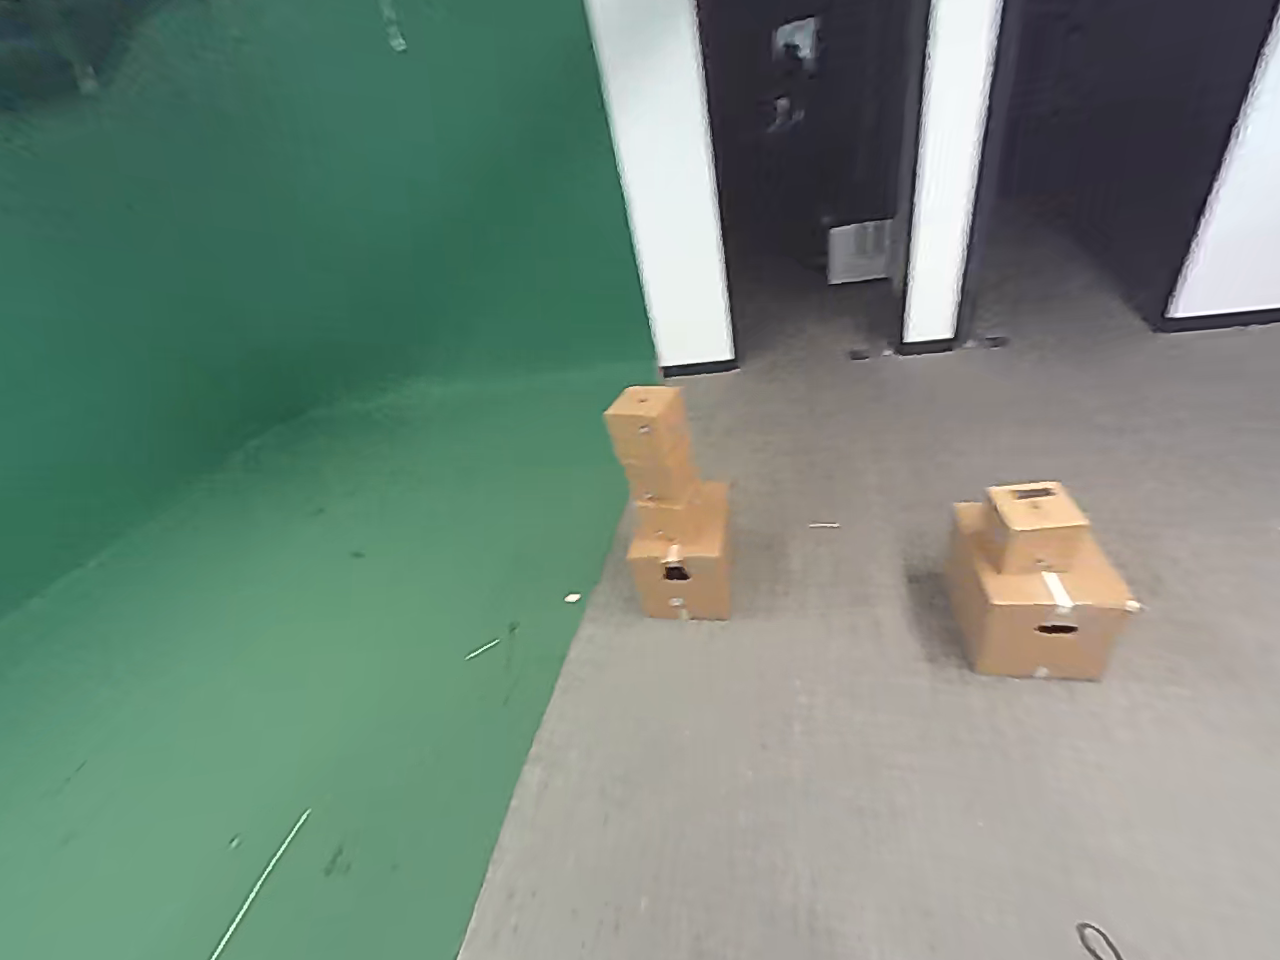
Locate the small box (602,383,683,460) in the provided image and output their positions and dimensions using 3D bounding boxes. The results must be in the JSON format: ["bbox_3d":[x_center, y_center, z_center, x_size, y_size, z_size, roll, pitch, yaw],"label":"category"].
[{"bbox_3d":[0.015,-0.176,1.628,0.179,0.176,0.168,7,41,28],"label":"small box"}]

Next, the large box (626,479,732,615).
[{"bbox_3d":[0.162,0.242,1.989,0.320,0.320,0.408,-3,36,16],"label":"large box"}]

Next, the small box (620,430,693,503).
[{"bbox_3d":[0.060,-0.050,1.724,0.168,0.176,0.179,6,42,28],"label":"small box"}]

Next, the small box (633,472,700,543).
[{"bbox_3d":[0.096,0.084,1.810,0.168,0.176,0.179,4,40,25],"label":"small box"}]
